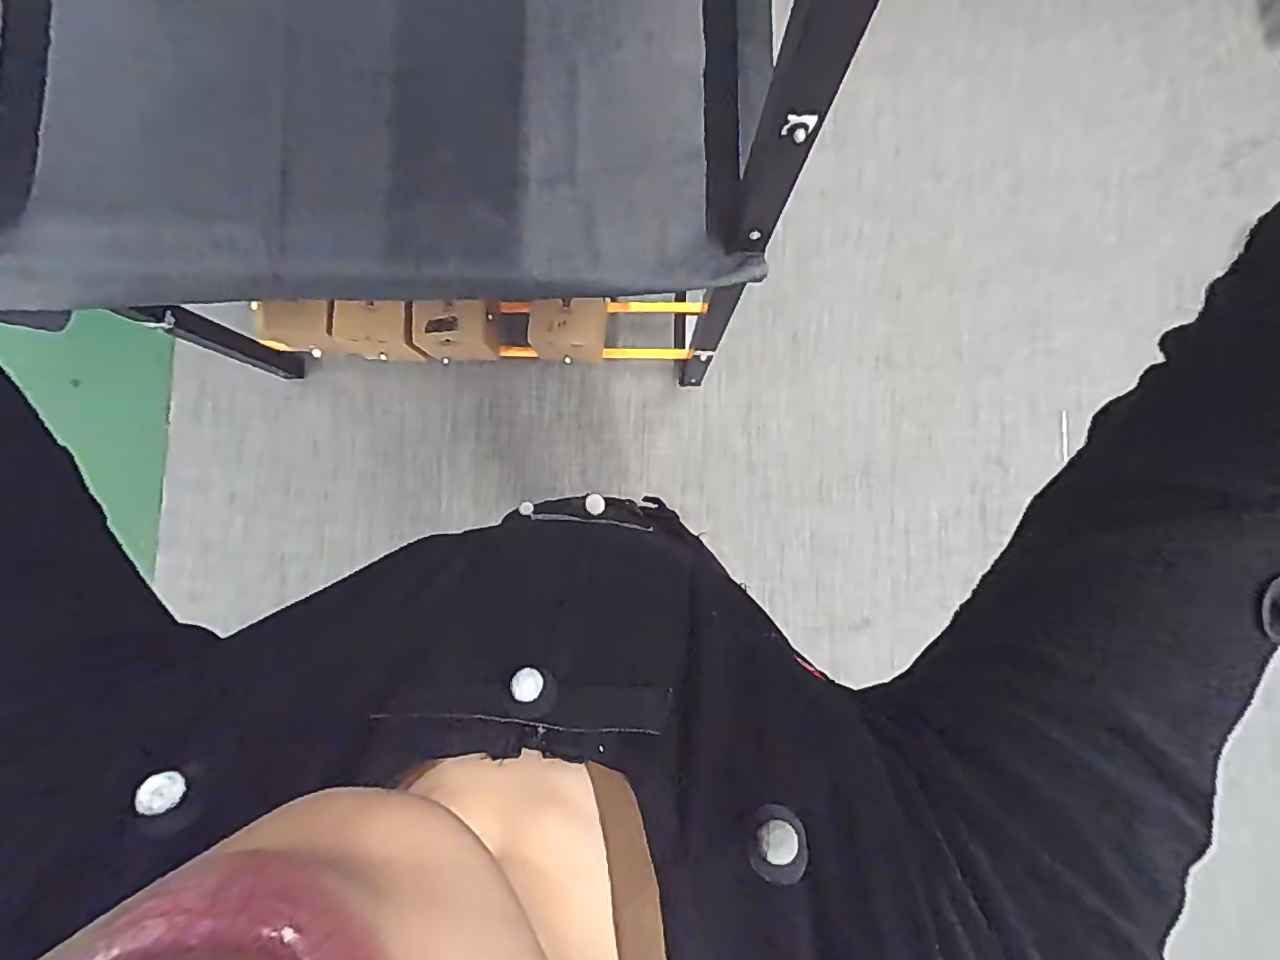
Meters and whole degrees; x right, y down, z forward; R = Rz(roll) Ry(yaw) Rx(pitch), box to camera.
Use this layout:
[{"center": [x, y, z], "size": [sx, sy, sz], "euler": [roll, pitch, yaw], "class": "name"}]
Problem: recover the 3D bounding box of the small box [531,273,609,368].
[{"center": [-0.169, -0.395, 1.359], "size": [0.168, 0.176, 0.179], "euler": [6, 88, 1], "class": "small box"}]
